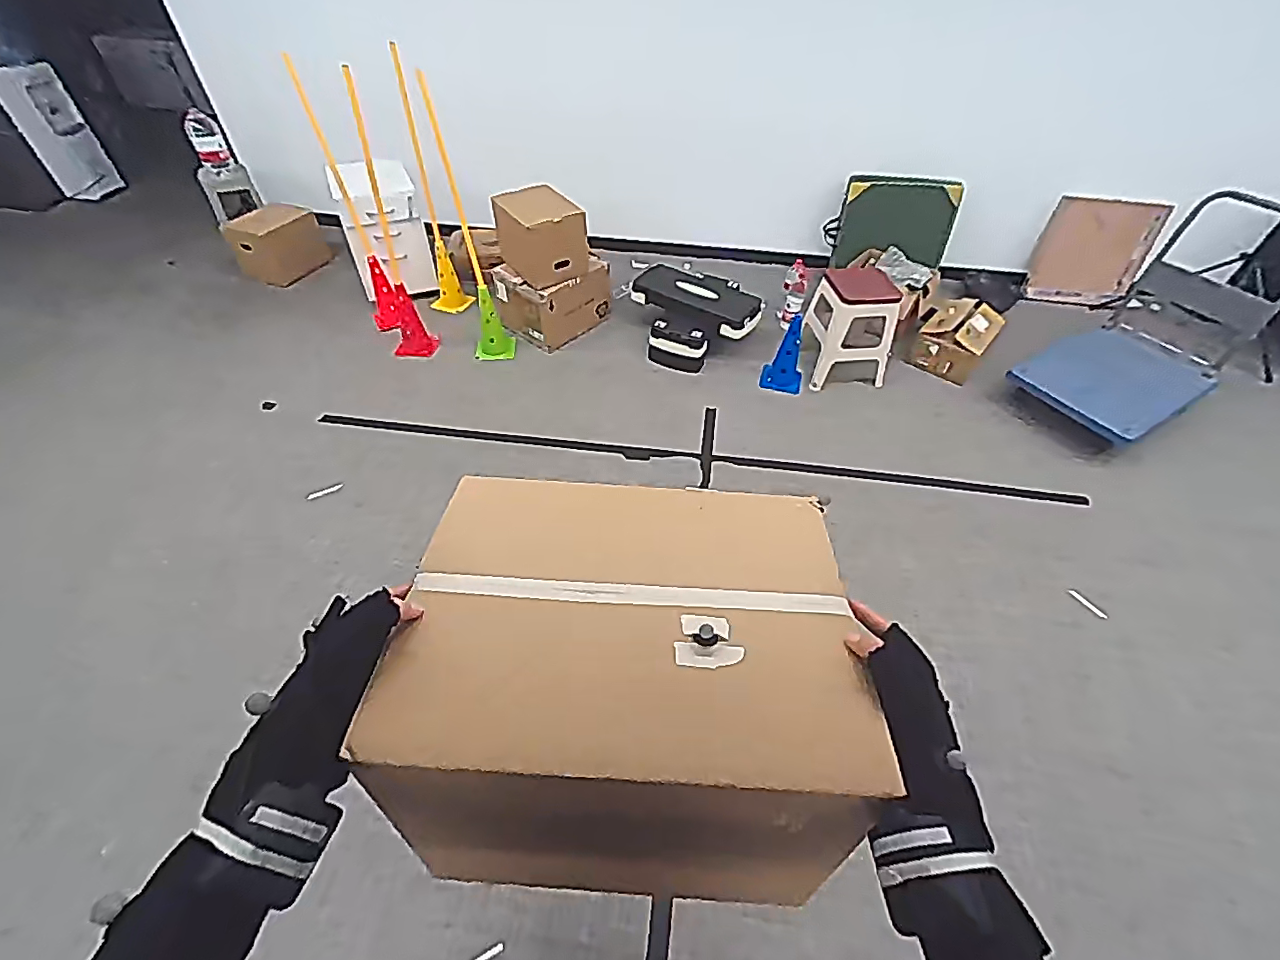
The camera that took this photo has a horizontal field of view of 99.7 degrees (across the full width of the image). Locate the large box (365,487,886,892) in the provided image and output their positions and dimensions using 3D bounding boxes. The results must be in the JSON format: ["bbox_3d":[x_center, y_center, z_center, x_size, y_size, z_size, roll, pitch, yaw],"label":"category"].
[{"bbox_3d":[-0.013,0.230,0.612,0.408,0.320,0.320,4,41,0],"label":"large box"}]
